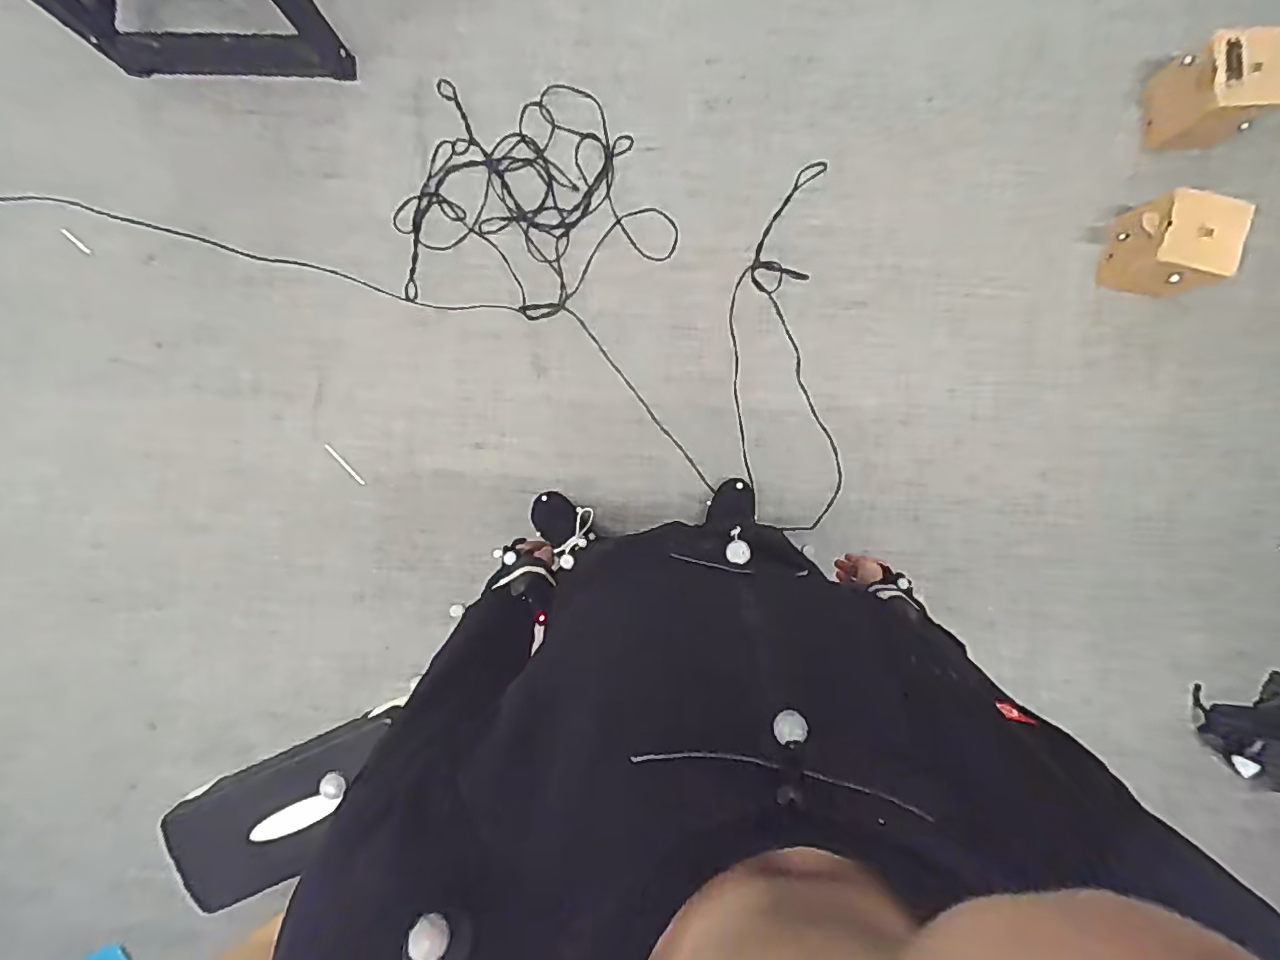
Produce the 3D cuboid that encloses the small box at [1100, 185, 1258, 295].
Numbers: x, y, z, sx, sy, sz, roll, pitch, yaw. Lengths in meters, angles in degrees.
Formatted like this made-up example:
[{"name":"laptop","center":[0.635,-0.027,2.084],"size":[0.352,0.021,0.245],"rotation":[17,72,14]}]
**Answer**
[{"name":"small box","center":[1.234,-0.543,1.249],"size":[0.179,0.176,0.168],"rotation":[13,92,1]}]
